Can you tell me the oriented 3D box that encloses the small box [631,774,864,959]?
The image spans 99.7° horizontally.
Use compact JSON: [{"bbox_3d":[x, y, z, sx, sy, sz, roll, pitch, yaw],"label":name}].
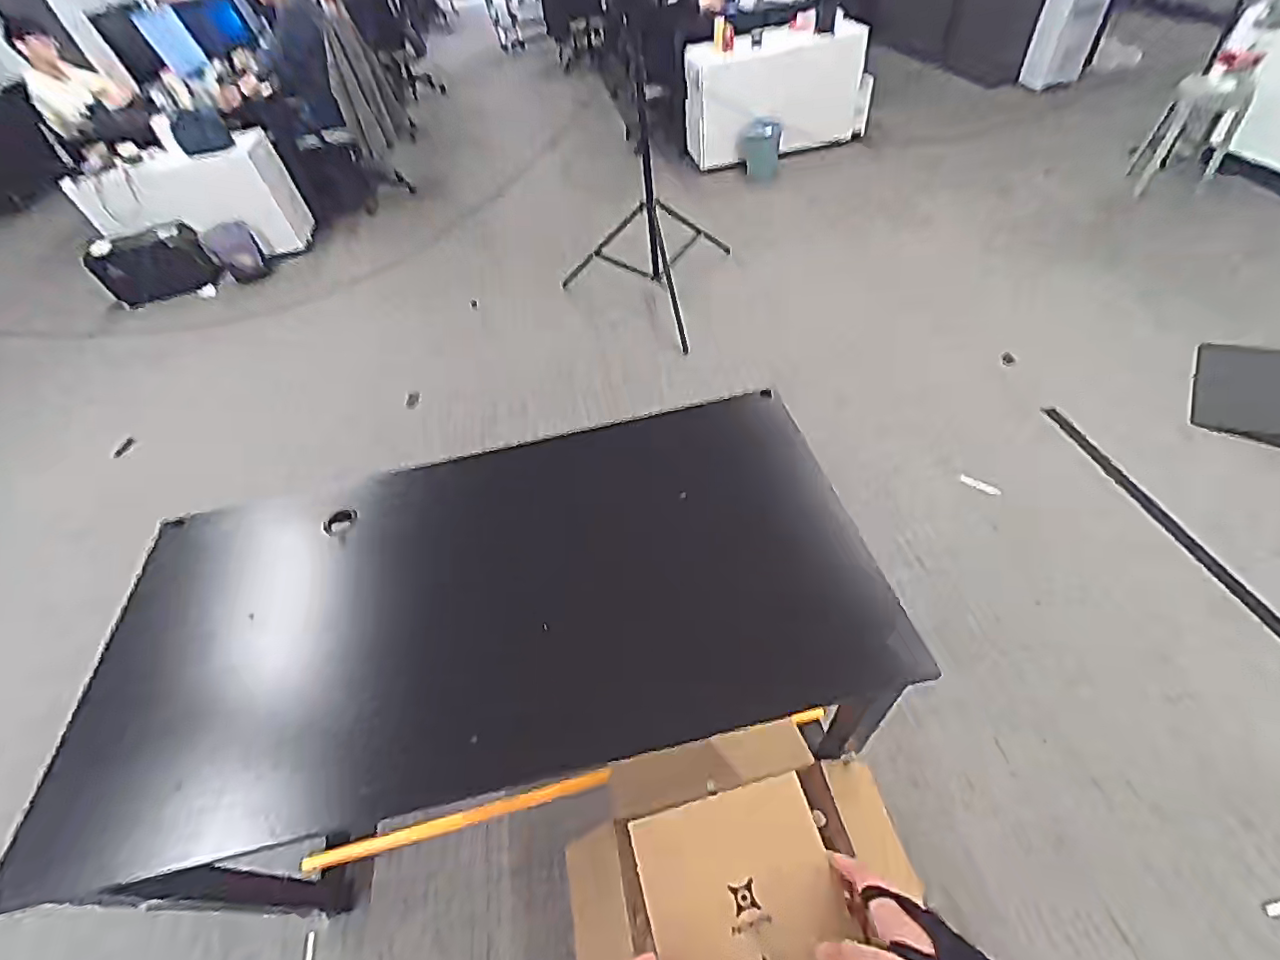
[{"bbox_3d":[0.094,0.405,0.518,0.168,0.176,0.179,-15,59,-4],"label":"small box"}]
